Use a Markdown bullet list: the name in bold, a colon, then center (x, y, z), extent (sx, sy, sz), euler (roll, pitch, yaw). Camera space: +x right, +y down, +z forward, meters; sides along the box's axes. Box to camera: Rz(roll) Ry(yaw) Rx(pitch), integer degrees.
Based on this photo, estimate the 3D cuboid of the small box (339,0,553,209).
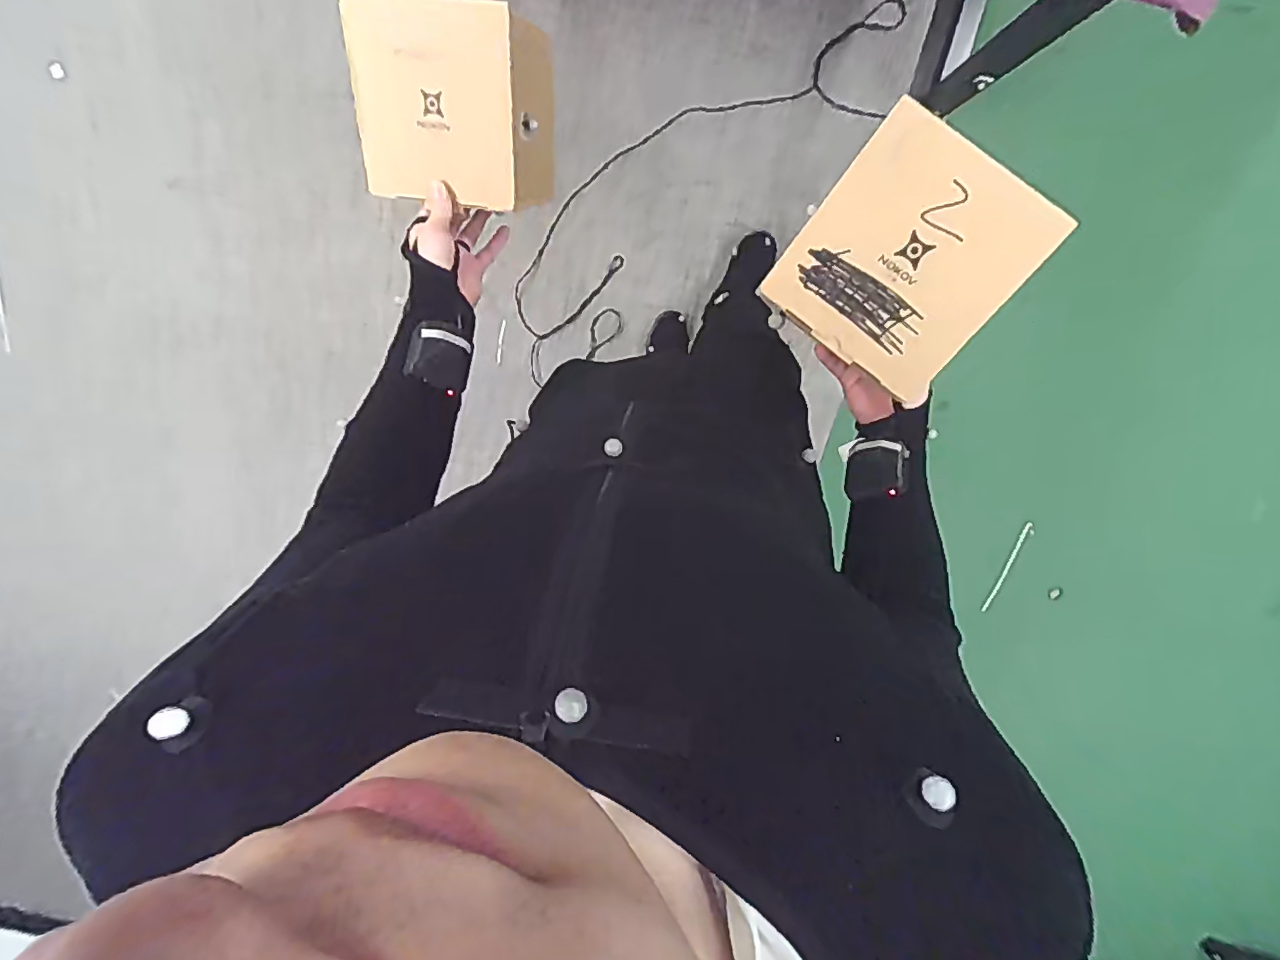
- **small box**: center (-0.198, -0.419, 0.607), extent (0.168, 0.176, 0.179), euler (9, 122, 3)
